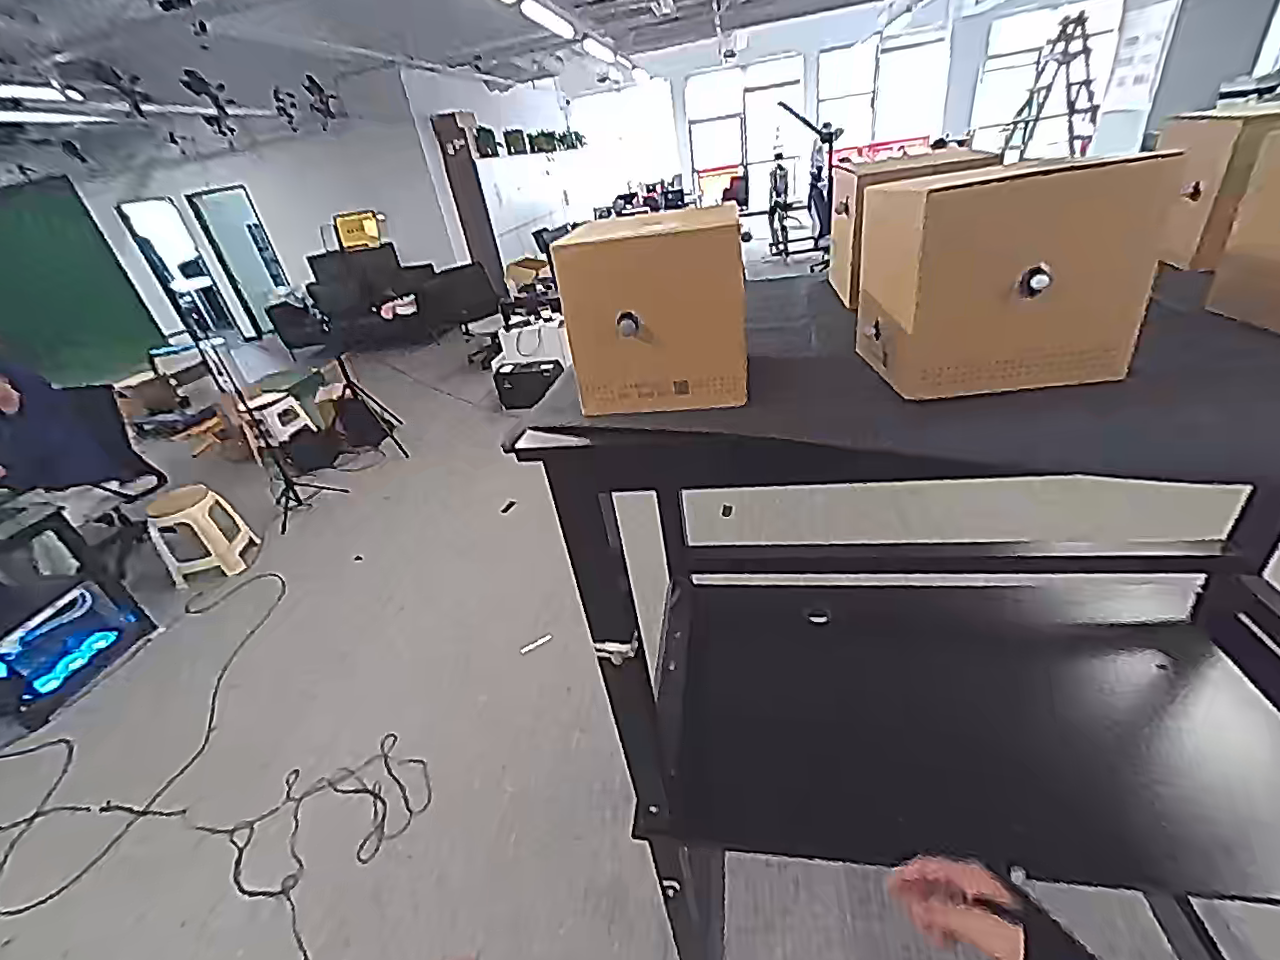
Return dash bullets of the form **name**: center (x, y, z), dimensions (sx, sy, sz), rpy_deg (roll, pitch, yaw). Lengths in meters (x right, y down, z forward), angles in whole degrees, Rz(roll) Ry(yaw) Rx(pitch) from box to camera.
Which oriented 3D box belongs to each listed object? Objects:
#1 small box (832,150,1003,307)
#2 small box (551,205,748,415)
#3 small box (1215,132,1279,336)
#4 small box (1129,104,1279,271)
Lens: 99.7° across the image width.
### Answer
- **small box**: center (0.366, -0.345, 0.751), dimensions (0.168, 0.176, 0.179), rpy_deg (-2, 32, 11)
- **small box**: center (0.024, -0.174, 0.563), dimensions (0.168, 0.176, 0.179), rpy_deg (-3, 31, 10)
- **small box**: center (0.647, -0.204, 0.438), dimensions (0.168, 0.176, 0.179), rpy_deg (-2, 29, 12)
- **small box**: center (0.772, -0.365, 0.677), dimensions (0.168, 0.176, 0.179), rpy_deg (2, 32, 16)
